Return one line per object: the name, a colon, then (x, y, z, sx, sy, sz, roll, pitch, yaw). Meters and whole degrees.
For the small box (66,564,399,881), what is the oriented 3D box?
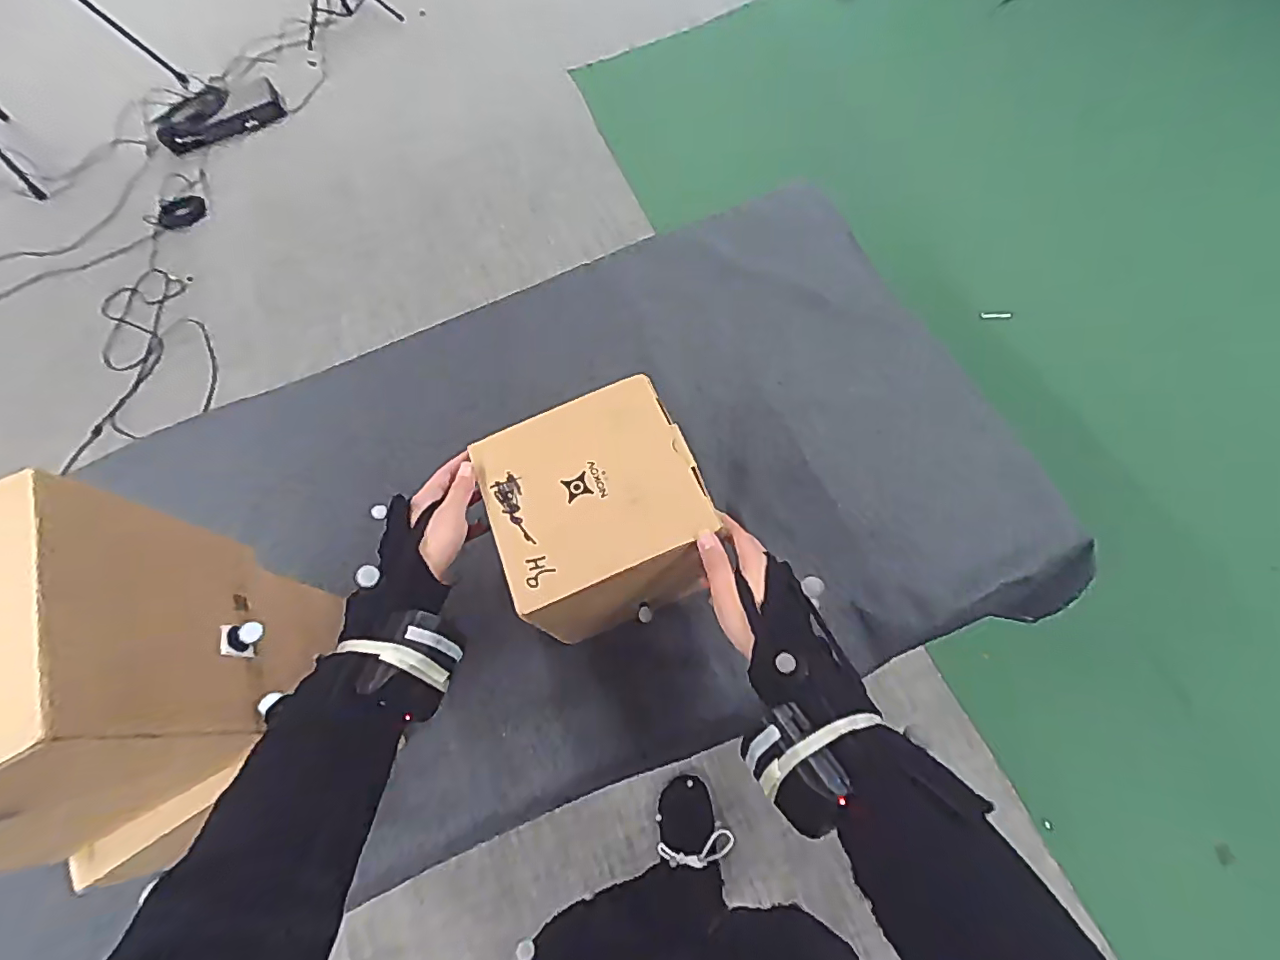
small box: (-0.355, 0.203, 0.487, 0.168, 0.176, 0.179, -33, 67, -7)

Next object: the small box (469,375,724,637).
small box: (-0.034, 0.035, 0.523, 0.179, 0.176, 0.168, -24, 66, -3)

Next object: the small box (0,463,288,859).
small box: (-0.376, 0.125, 0.345, 0.179, 0.176, 0.168, -29, 67, -7)
